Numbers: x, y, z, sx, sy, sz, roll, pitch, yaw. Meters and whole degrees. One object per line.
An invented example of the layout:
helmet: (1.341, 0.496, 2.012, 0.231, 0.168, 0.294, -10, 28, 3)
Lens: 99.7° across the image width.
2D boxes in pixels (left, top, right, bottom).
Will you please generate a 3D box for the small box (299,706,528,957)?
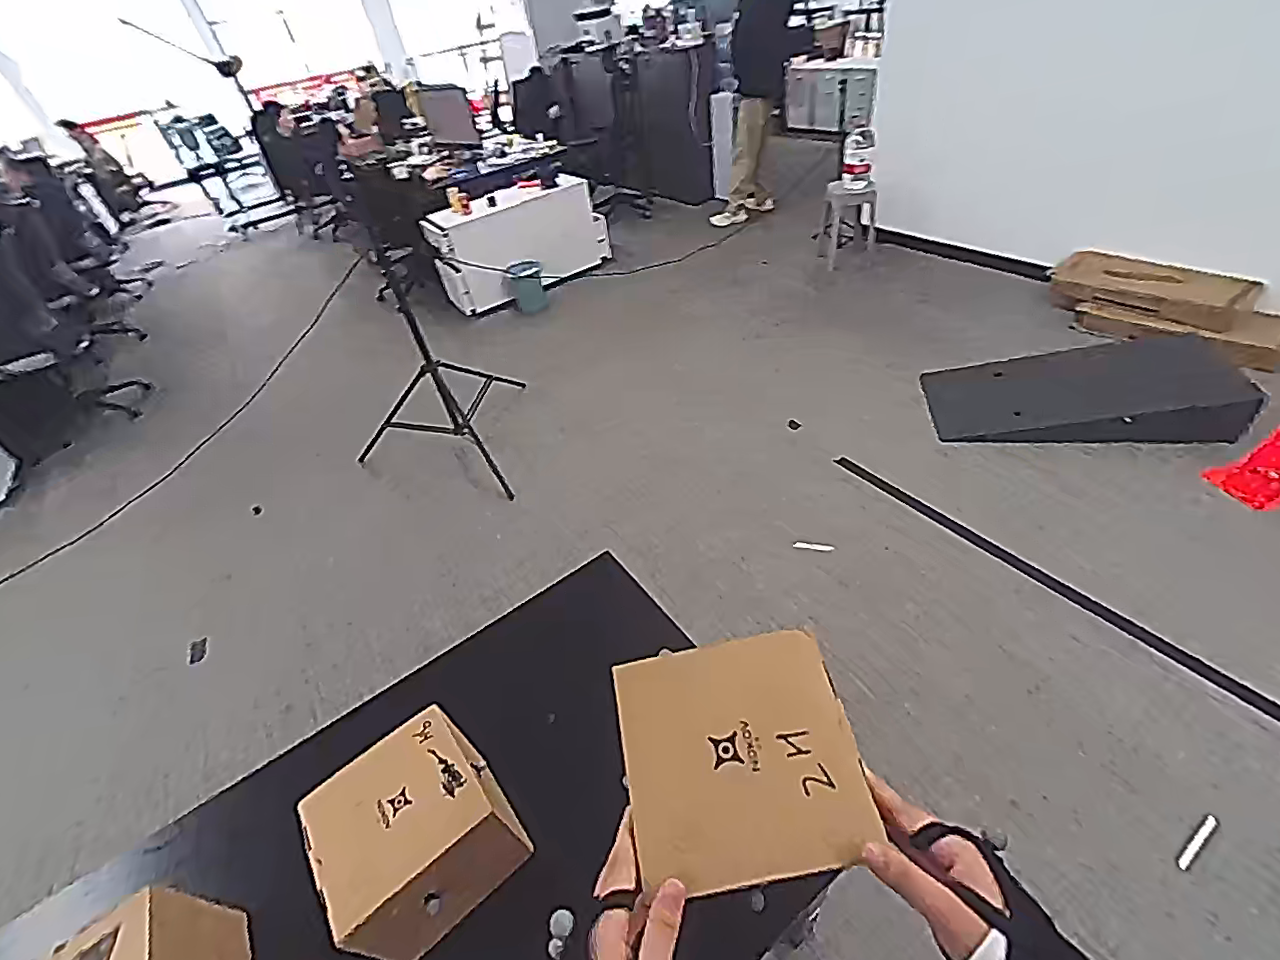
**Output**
small box: (-0.266, 0.425, 0.657, 0.179, 0.176, 0.168, -34, 47, -23)

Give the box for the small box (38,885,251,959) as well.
small box: (-0.526, 0.572, 0.549, 0.168, 0.176, 0.179, -31, 46, -21)
